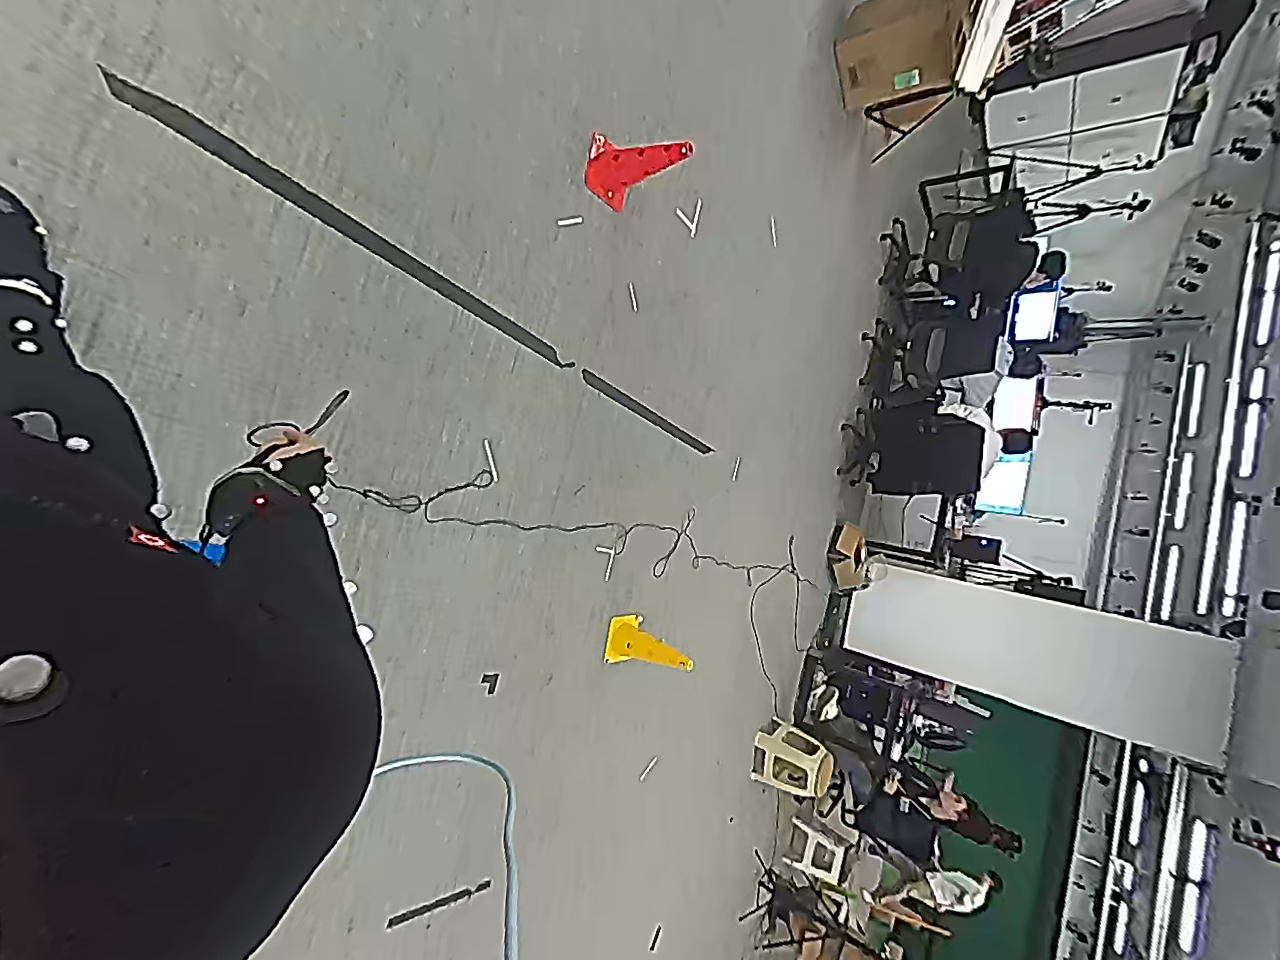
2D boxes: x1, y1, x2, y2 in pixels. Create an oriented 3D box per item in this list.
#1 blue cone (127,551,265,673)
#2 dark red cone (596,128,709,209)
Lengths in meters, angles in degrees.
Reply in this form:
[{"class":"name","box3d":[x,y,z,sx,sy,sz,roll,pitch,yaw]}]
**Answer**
[{"class":"blue cone","box3d":[-0.803,0.273,1.035,0.193,0.380,0.192,24,80,-52]},{"class":"dark red cone","box3d":[0.052,-1.063,1.799,0.202,0.394,0.201,11,90,-53]}]
